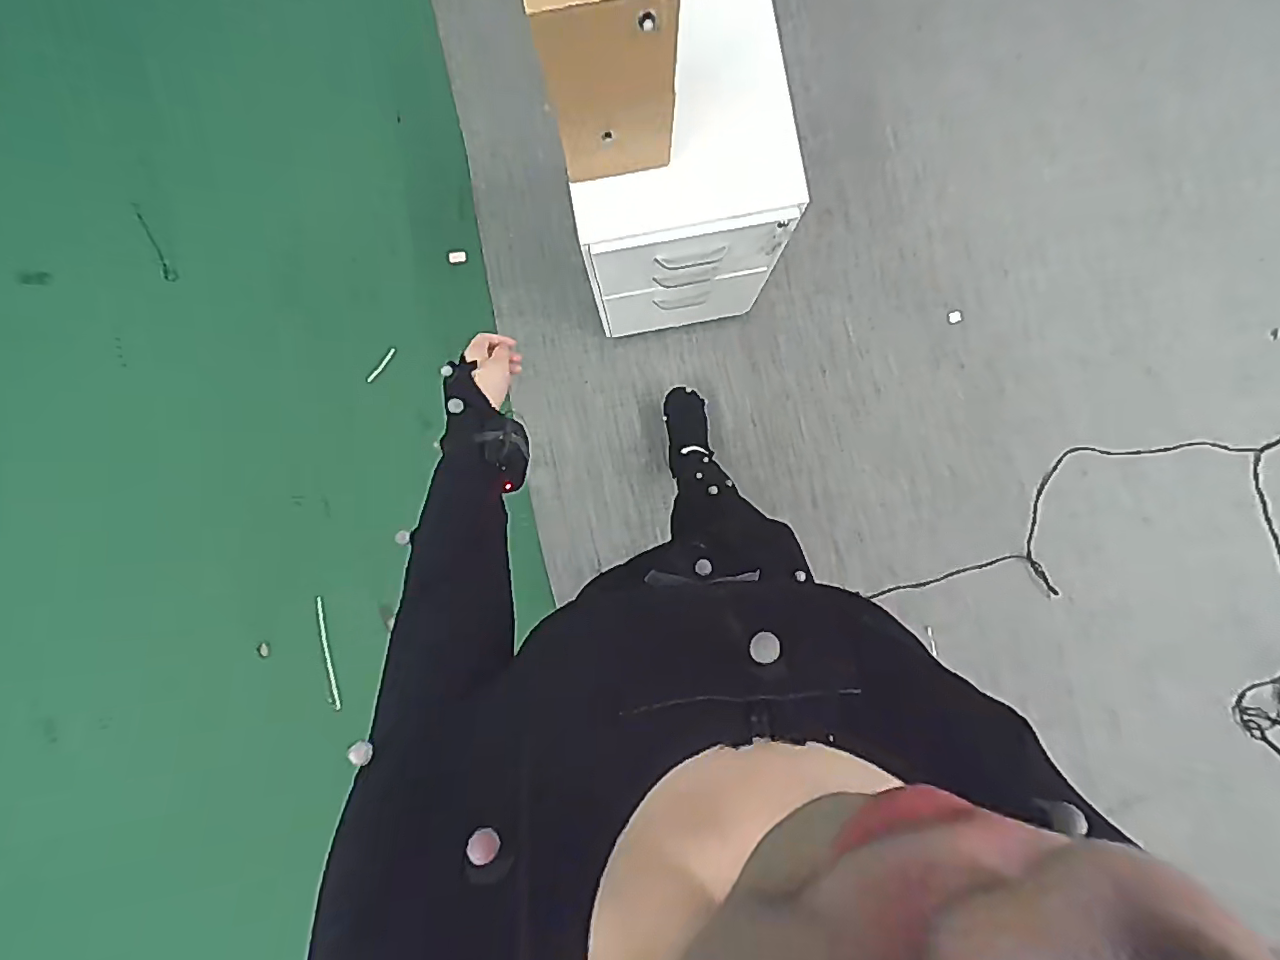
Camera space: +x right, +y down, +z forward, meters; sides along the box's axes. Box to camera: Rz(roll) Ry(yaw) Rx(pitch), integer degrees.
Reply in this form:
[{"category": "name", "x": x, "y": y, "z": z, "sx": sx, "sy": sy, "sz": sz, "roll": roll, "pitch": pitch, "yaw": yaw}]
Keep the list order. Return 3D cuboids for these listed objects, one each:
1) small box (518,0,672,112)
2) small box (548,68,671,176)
[{"category": "small box", "x": -0.057, "y": -0.595, "z": 0.666, "sx": 0.179, "sy": 0.176, "sz": 0.168, "roll": -11, "pitch": 88, "yaw": 0}, {"category": "small box", "x": -0.052, "y": -0.599, "z": 0.830, "sx": 0.179, "sy": 0.176, "sz": 0.168, "roll": -11, "pitch": 89, "yaw": 1}]
